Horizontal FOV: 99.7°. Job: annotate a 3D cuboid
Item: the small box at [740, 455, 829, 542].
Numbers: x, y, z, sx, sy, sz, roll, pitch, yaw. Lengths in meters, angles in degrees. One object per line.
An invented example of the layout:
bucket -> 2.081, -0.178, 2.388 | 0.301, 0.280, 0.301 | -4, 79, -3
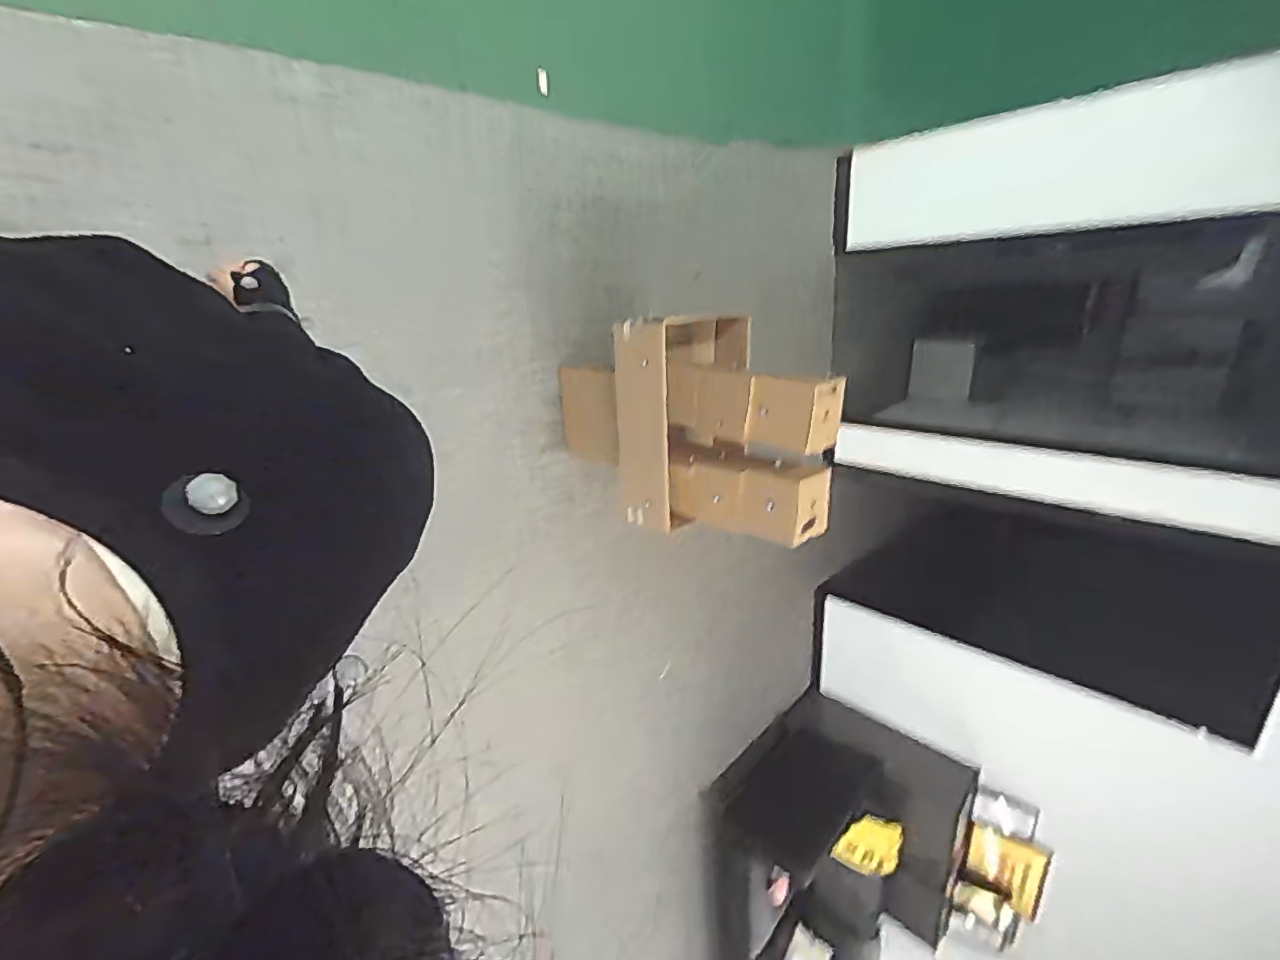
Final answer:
small box -> 0.383, 0.044, 1.450 | 0.168, 0.176, 0.179 | -16, 113, -42

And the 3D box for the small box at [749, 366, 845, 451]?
small box -> 0.400, -0.190, 1.397 | 0.168, 0.176, 0.179 | -18, 119, -44

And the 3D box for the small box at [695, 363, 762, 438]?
small box -> 0.268, -0.224, 1.489 | 0.168, 0.176, 0.179 | -13, 115, -45
